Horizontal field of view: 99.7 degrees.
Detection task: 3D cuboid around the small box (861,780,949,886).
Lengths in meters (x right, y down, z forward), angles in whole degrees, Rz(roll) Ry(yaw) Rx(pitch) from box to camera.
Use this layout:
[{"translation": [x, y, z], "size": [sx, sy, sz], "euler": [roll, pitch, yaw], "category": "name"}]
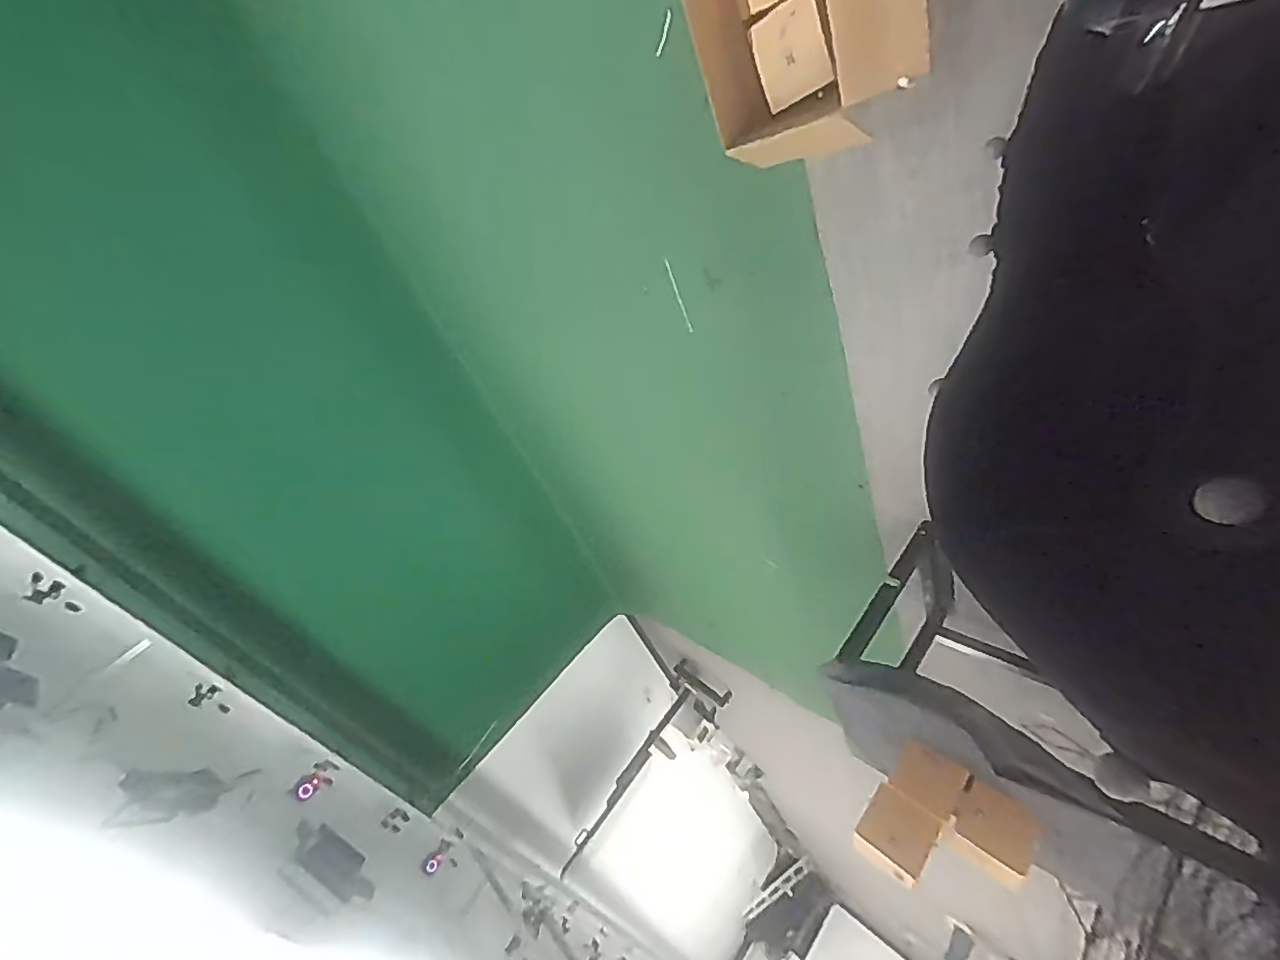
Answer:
[{"translation": [0.758, 1.005, 1.550], "size": [0.179, 0.176, 0.168], "euler": [26, 149, 39], "category": "small box"}]
